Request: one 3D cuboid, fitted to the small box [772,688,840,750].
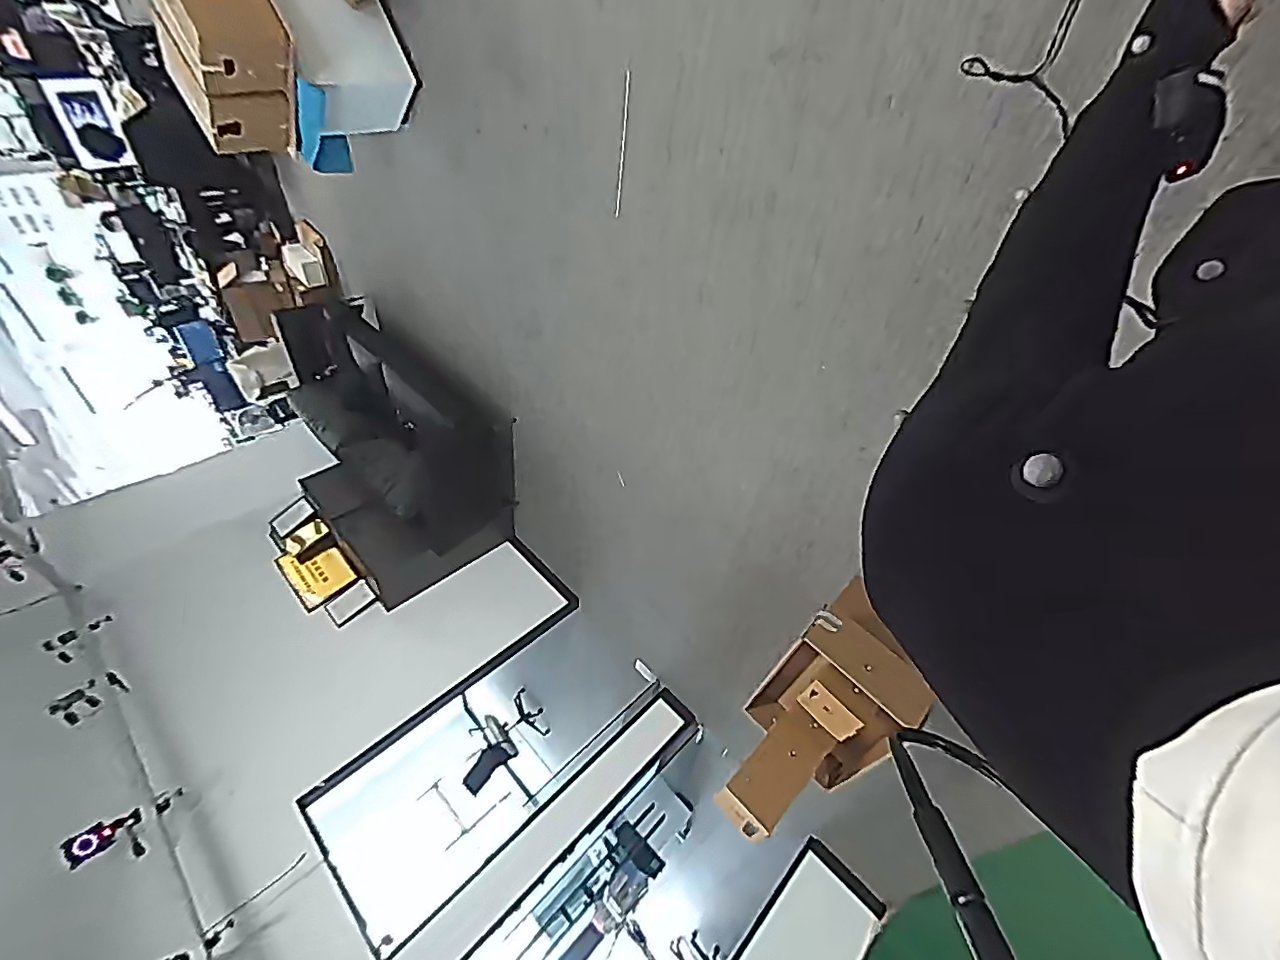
[{"bbox_3d":[0.603,0.842,1.892,0.179,0.176,0.168,40,142,24],"label":"small box"}]

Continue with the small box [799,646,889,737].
[{"bbox_3d":[0.641,0.658,1.695,0.179,0.176,0.168,41,143,22],"label":"small box"}]

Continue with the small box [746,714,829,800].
[{"bbox_3d":[0.490,0.911,1.796,0.179,0.176,0.168,38,141,24],"label":"small box"}]
